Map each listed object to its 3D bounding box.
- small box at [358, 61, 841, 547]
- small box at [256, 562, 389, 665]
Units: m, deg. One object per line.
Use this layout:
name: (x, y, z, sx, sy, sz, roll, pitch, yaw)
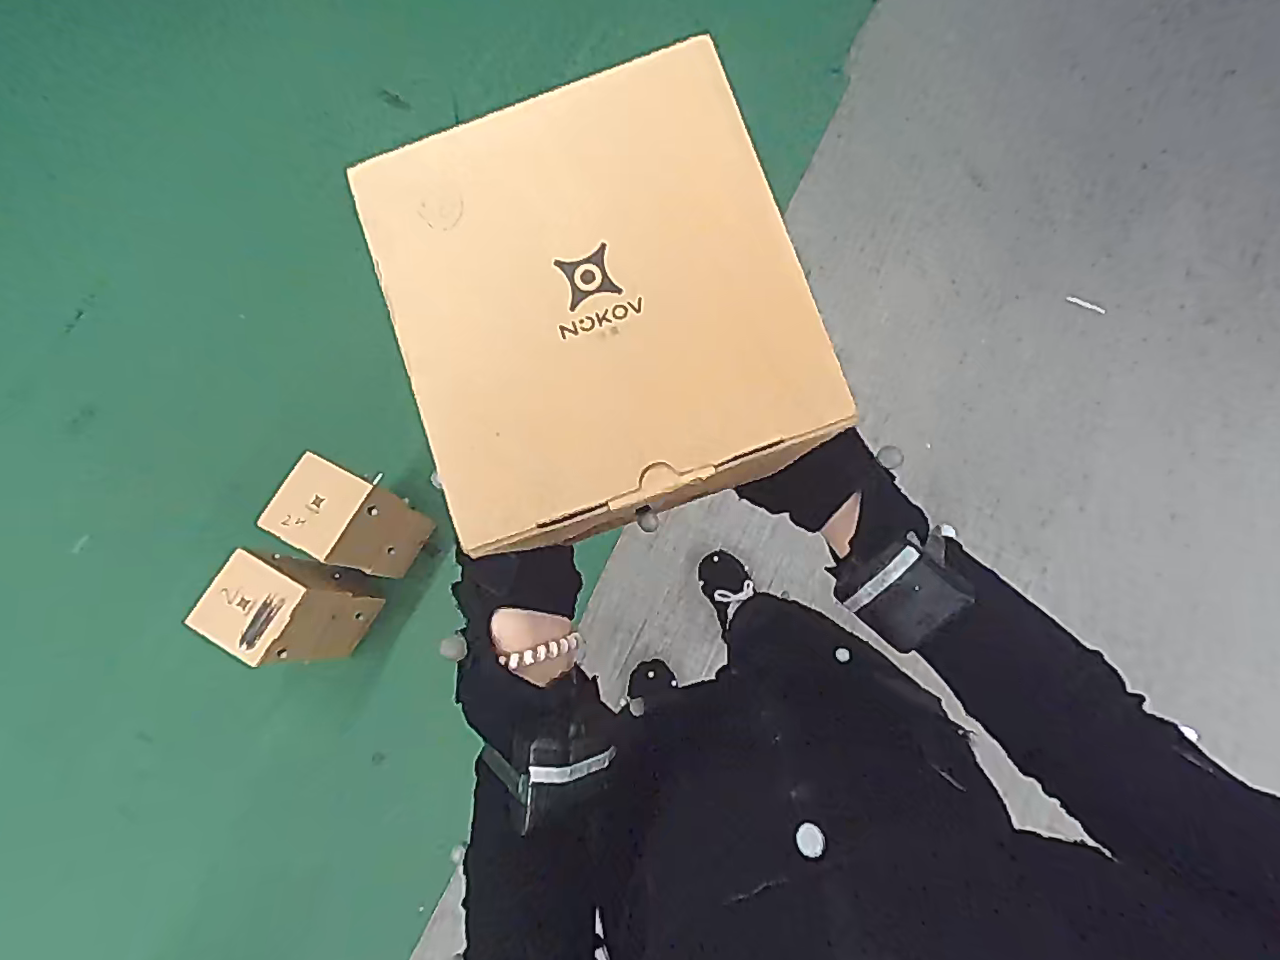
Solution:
small box: (-0.018, -0.070, 0.309, 0.168, 0.176, 0.179, -21, 85, 2)
small box: (-0.739, 0.312, 1.280, 0.179, 0.176, 0.168, 30, 78, 8)
